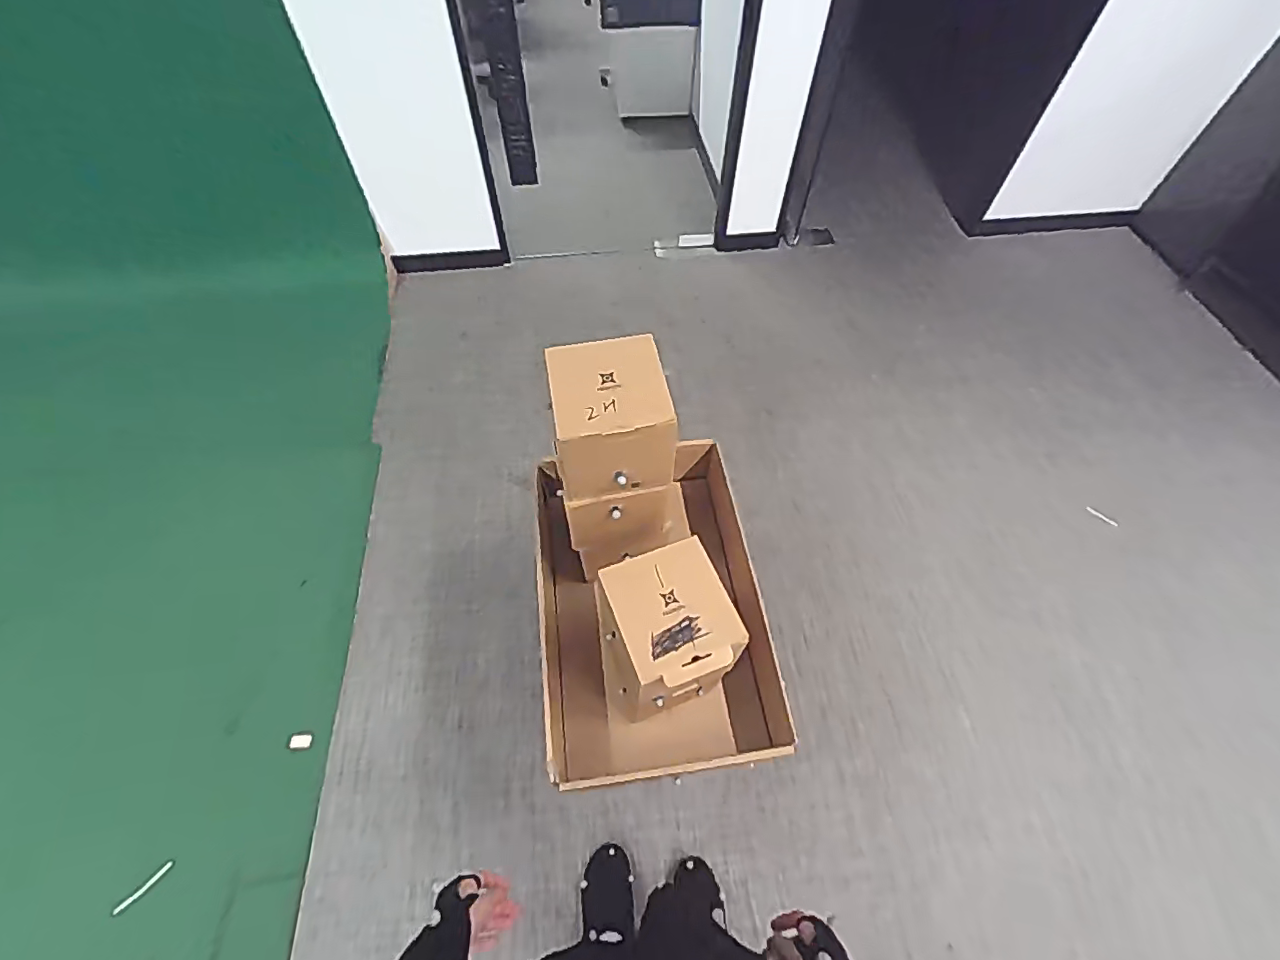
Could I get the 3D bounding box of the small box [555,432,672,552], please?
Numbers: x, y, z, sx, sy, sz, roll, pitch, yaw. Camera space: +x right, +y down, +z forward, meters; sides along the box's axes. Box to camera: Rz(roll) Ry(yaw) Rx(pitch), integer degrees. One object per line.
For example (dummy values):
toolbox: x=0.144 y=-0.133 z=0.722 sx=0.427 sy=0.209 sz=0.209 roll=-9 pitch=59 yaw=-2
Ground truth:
small box: x=-0.049 y=0.011 z=0.975 sx=0.179 sy=0.176 sz=0.168 roll=-11 pitch=58 yaw=-6

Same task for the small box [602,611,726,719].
small box: x=0.038 y=0.315 z=0.976 sx=0.168 sy=0.176 sz=0.179 roll=-17 pitch=58 yaw=-13

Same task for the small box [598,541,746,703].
small box: x=0.042 y=0.227 z=0.838 sx=0.168 sy=0.176 sz=0.179 roll=-17 pitch=58 yaw=-13

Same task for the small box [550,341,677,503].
small box: x=-0.043 y=-0.087 z=0.843 sx=0.168 sy=0.176 sz=0.179 roll=-9 pitch=59 yaw=-5
